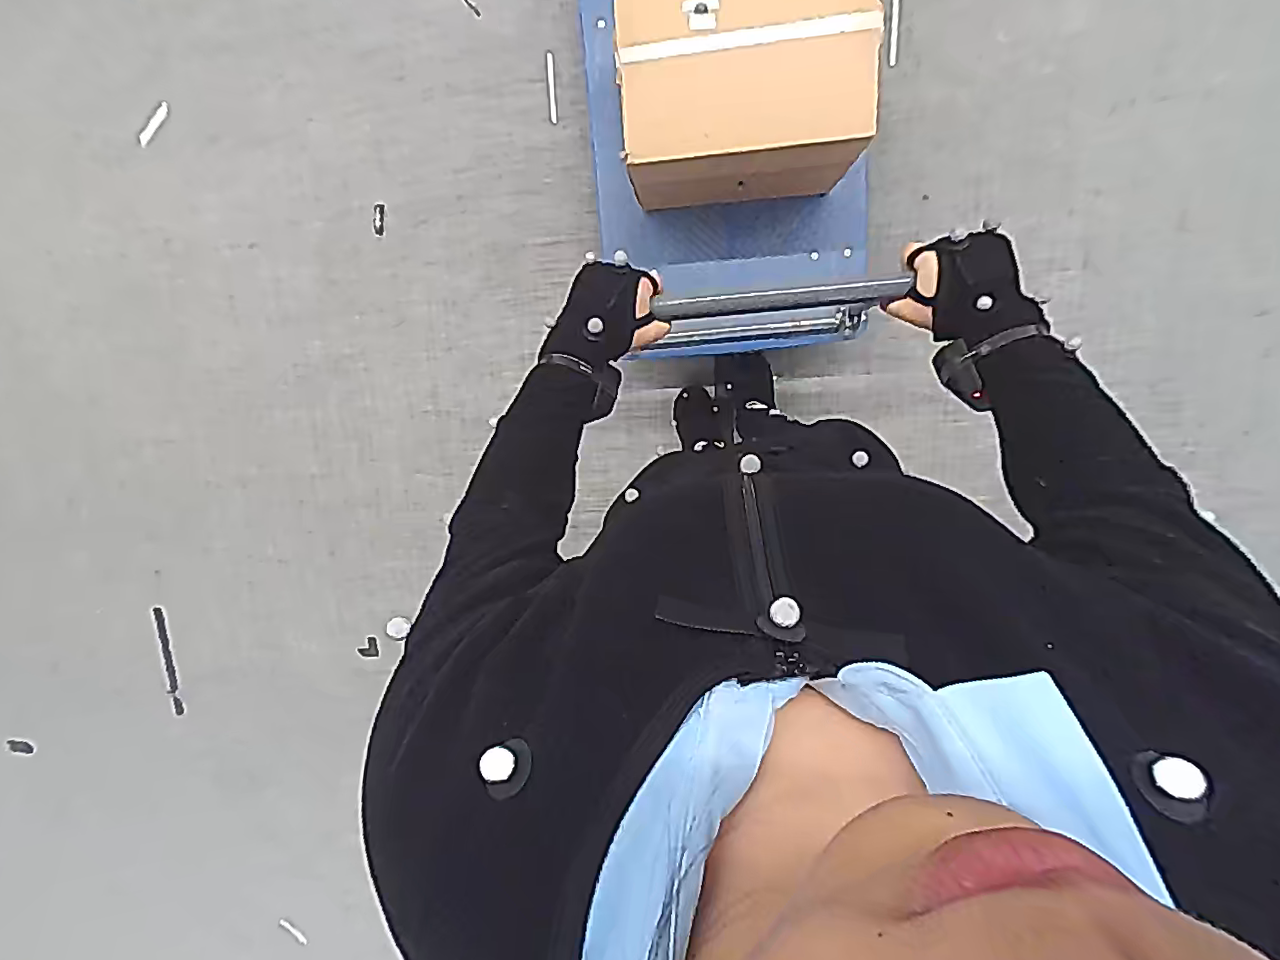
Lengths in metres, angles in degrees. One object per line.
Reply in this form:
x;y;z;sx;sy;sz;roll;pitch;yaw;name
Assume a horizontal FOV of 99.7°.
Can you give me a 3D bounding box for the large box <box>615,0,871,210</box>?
0.184;-0.729;1.015;0.408;0.320;0.320;-3;102;7;large box
